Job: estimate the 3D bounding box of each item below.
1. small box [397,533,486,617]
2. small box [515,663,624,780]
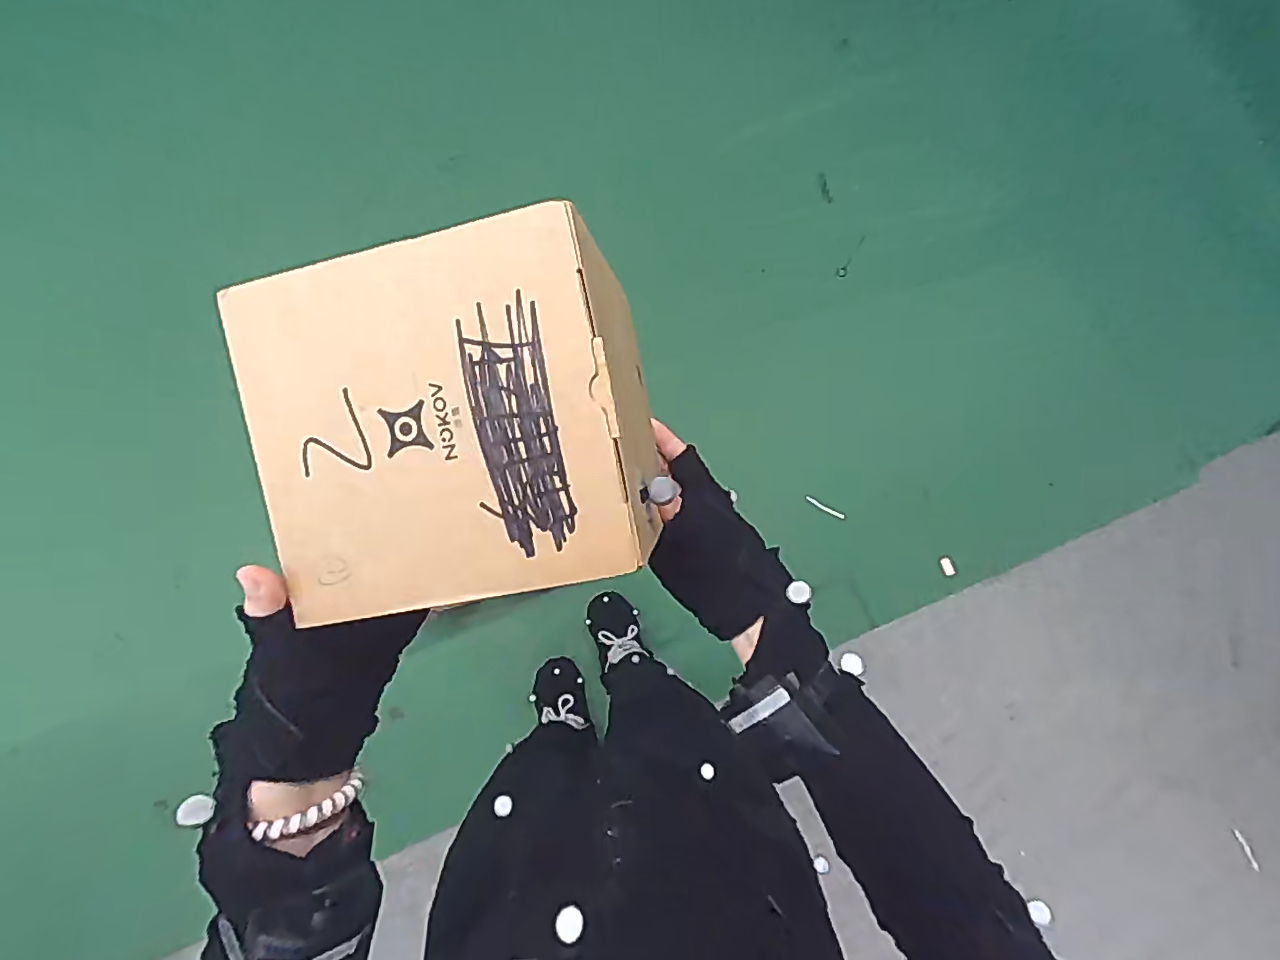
[{"bbox_3d":[-0.467,0.208,1.253,0.168,0.176,0.179,-15,78,-10],"label":"small box"},{"bbox_3d":[-0.162,0.540,1.230,0.179,0.176,0.168,24,86,16],"label":"small box"}]
